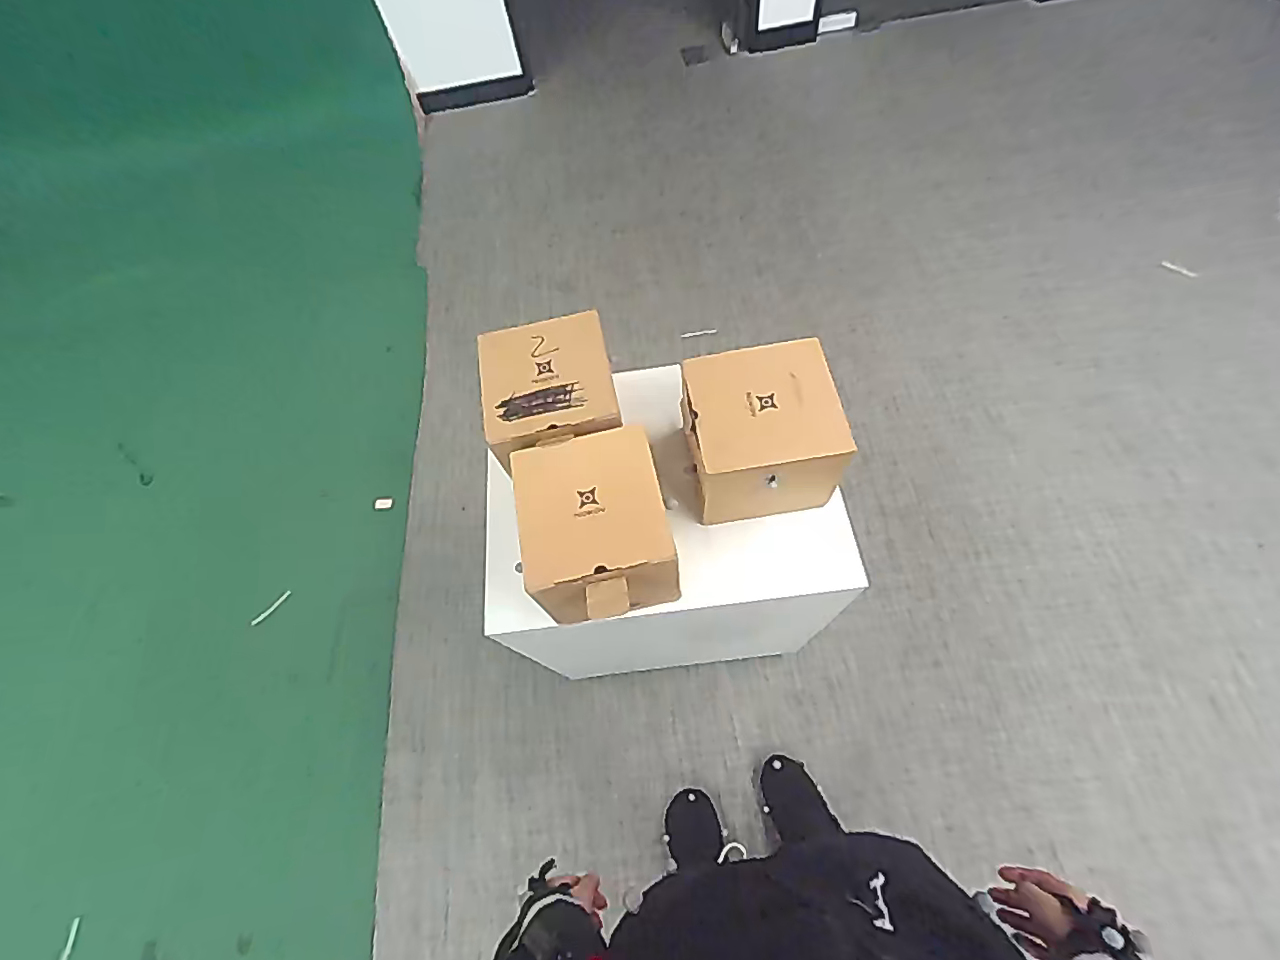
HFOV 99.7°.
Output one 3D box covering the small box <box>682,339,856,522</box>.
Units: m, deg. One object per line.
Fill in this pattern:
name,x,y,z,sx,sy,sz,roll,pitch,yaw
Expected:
small box,0.156,-0.055,0.711,0.179,0.176,0.168,-9,65,2
